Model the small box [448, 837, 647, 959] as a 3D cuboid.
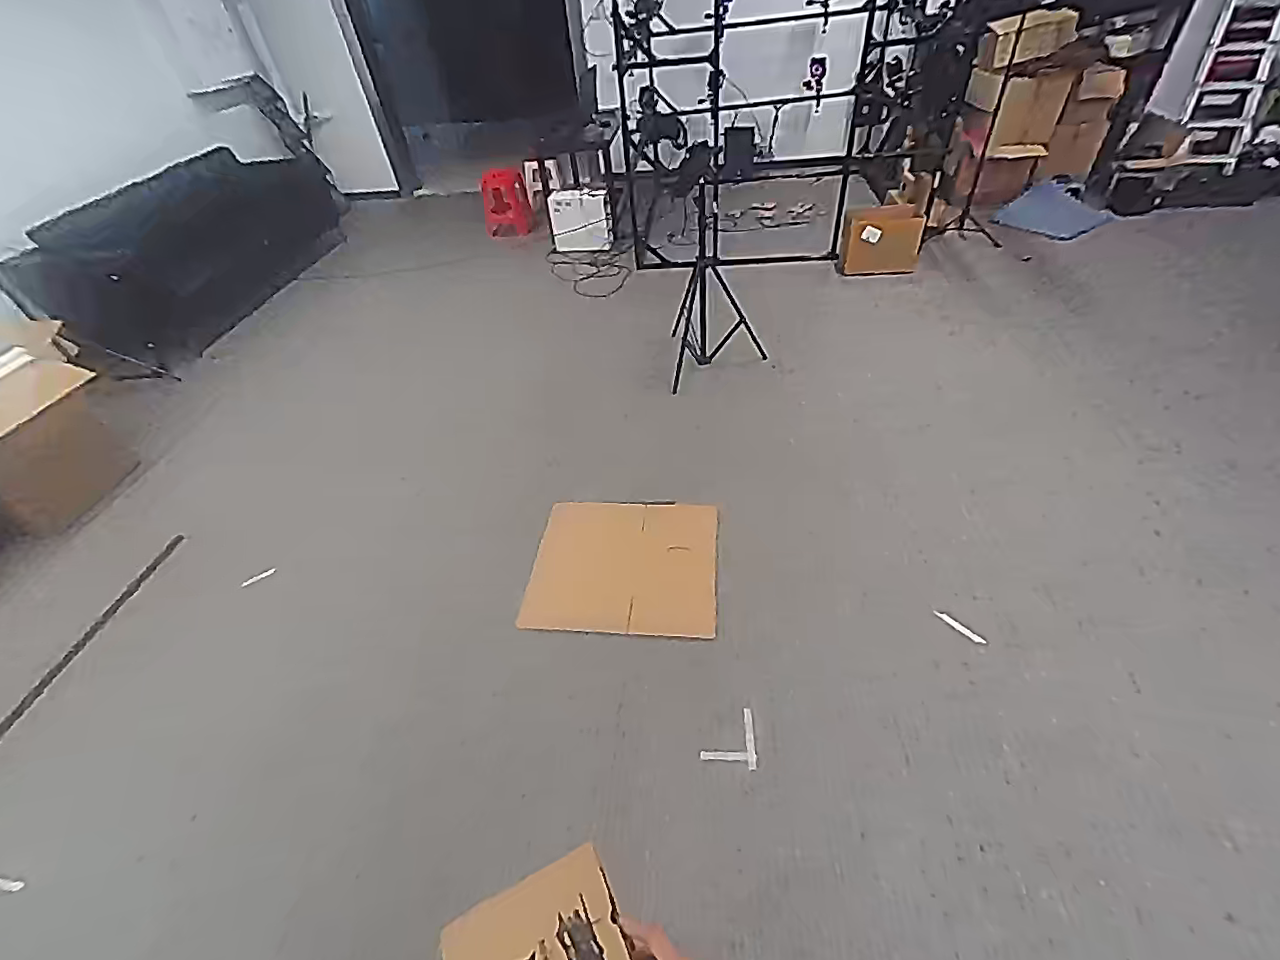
[{"bbox_3d":[-0.079,0.529,0.559,0.179,0.176,0.168,-22,28,-13],"label":"small box"}]
